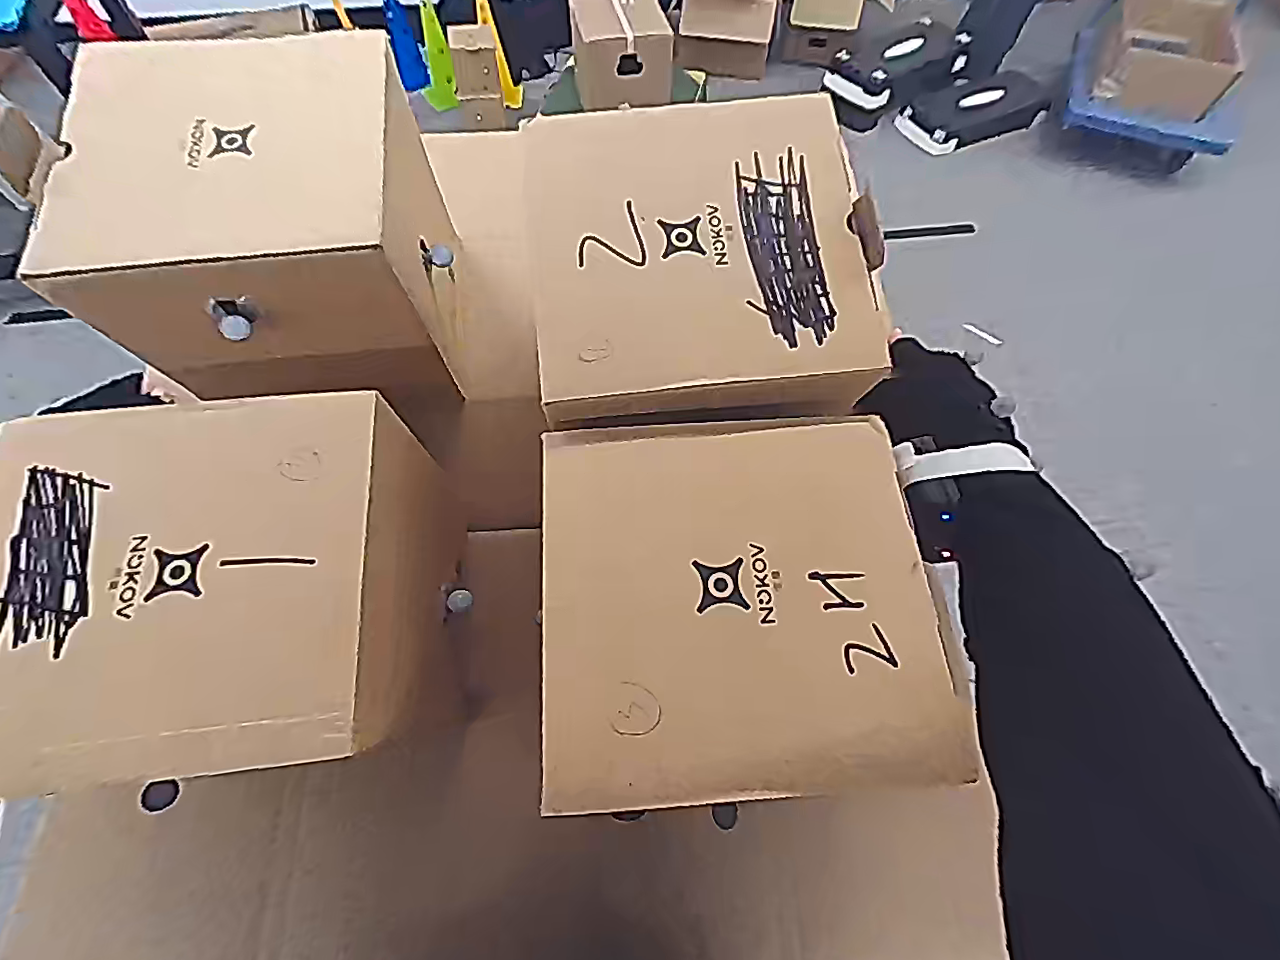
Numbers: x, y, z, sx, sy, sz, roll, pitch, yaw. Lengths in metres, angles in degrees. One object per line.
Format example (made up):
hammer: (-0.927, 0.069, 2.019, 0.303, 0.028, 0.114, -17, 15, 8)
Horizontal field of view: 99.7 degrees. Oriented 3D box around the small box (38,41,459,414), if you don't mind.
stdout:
small box: (-0.233, -0.162, 0.382, 0.179, 0.176, 0.168, -7, 70, -4)
